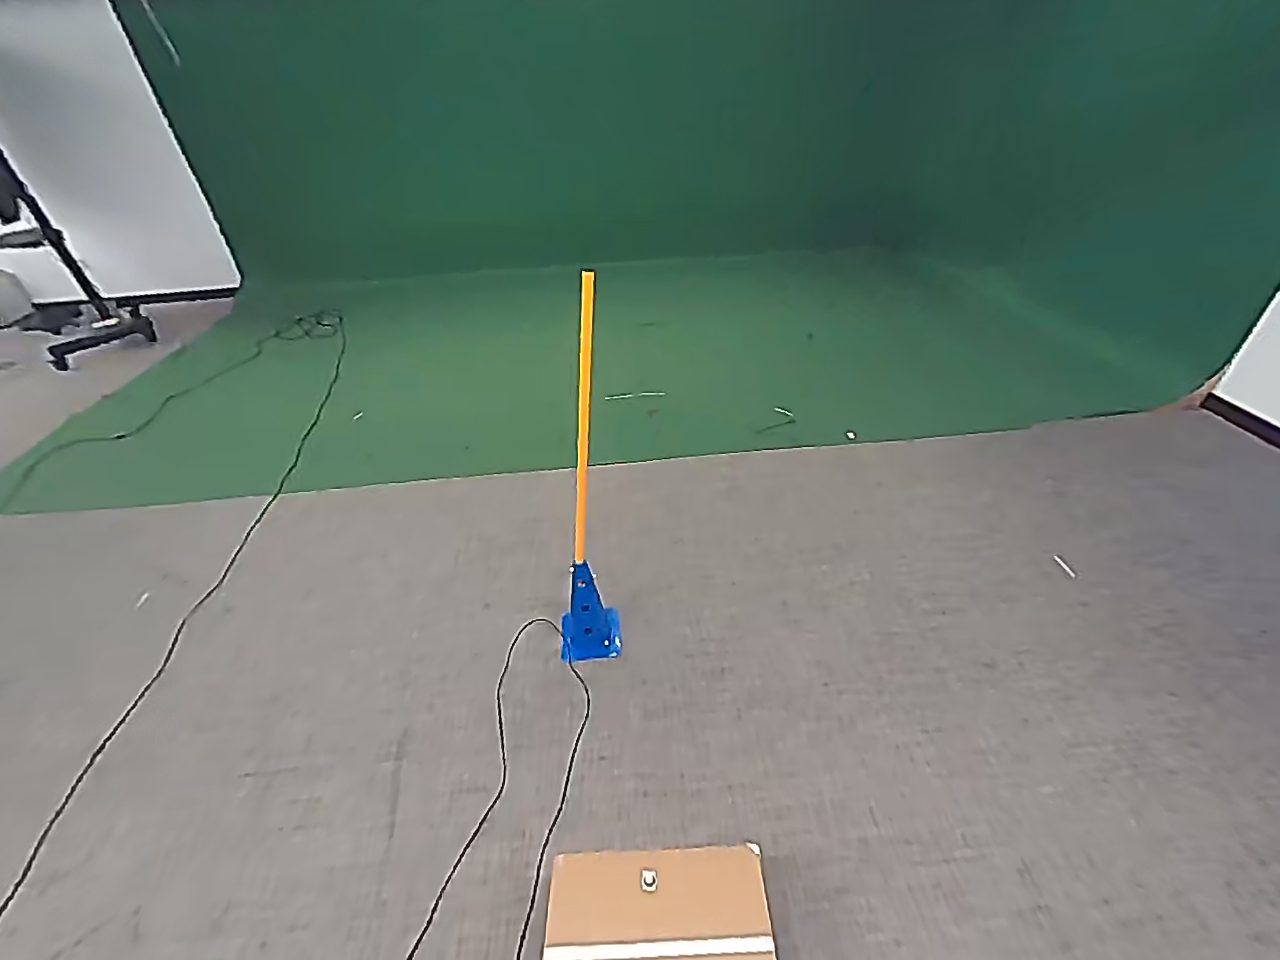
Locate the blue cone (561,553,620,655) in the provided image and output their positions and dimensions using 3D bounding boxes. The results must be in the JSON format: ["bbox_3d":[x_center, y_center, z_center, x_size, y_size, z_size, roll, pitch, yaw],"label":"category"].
[{"bbox_3d":[-0.172,0.370,1.725,0.193,0.380,0.192,-5,38,-6],"label":"blue cone"}]
